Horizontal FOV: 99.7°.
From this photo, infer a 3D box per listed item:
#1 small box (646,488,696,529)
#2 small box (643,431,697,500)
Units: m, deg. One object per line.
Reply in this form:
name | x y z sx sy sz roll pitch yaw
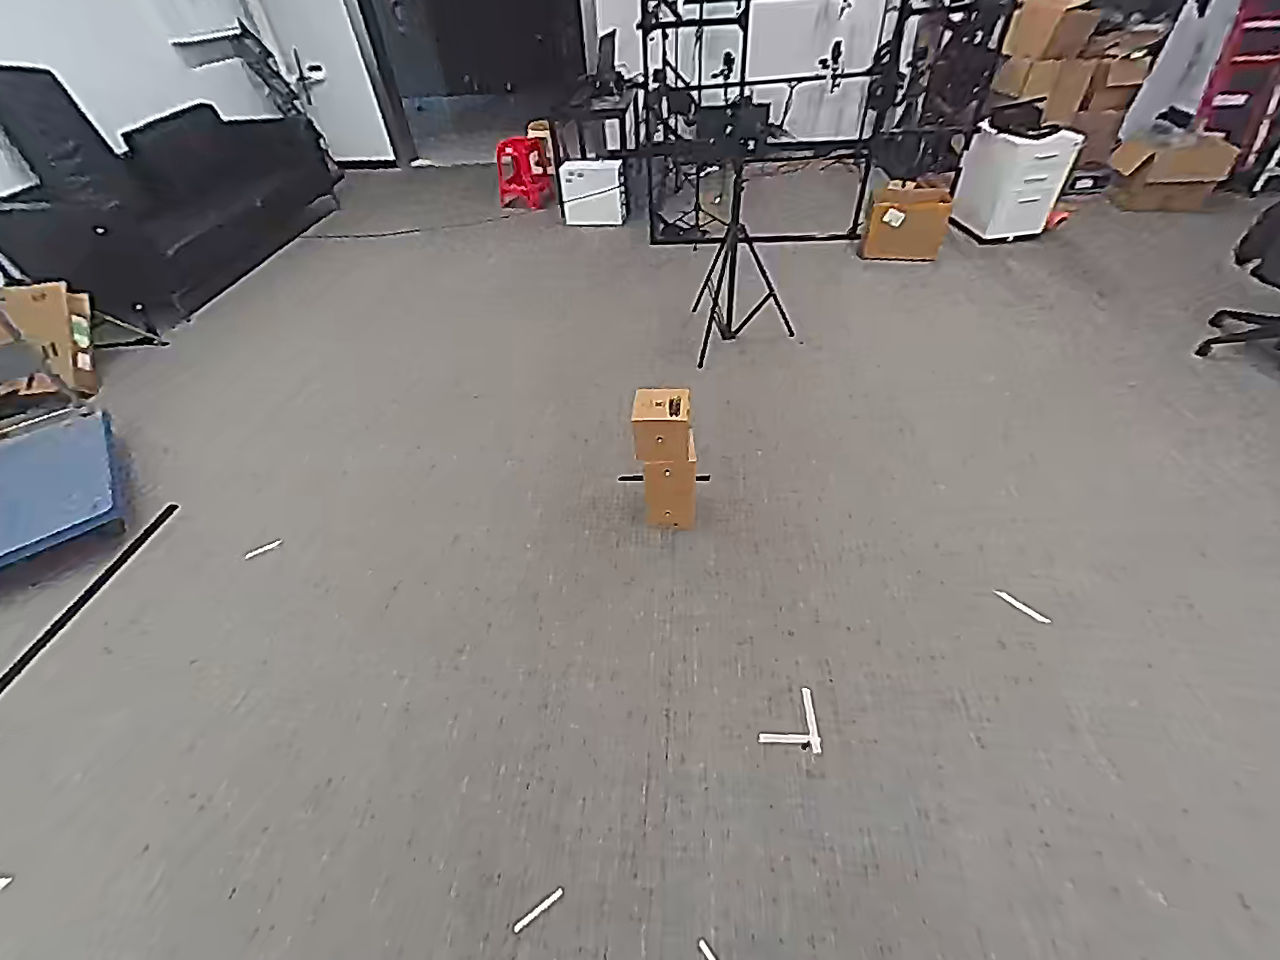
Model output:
small box | 0.118 0.062 1.980 0.168 0.176 0.179 3 44 7
small box | 0.101 -0.048 1.861 0.179 0.176 0.168 -4 44 2
